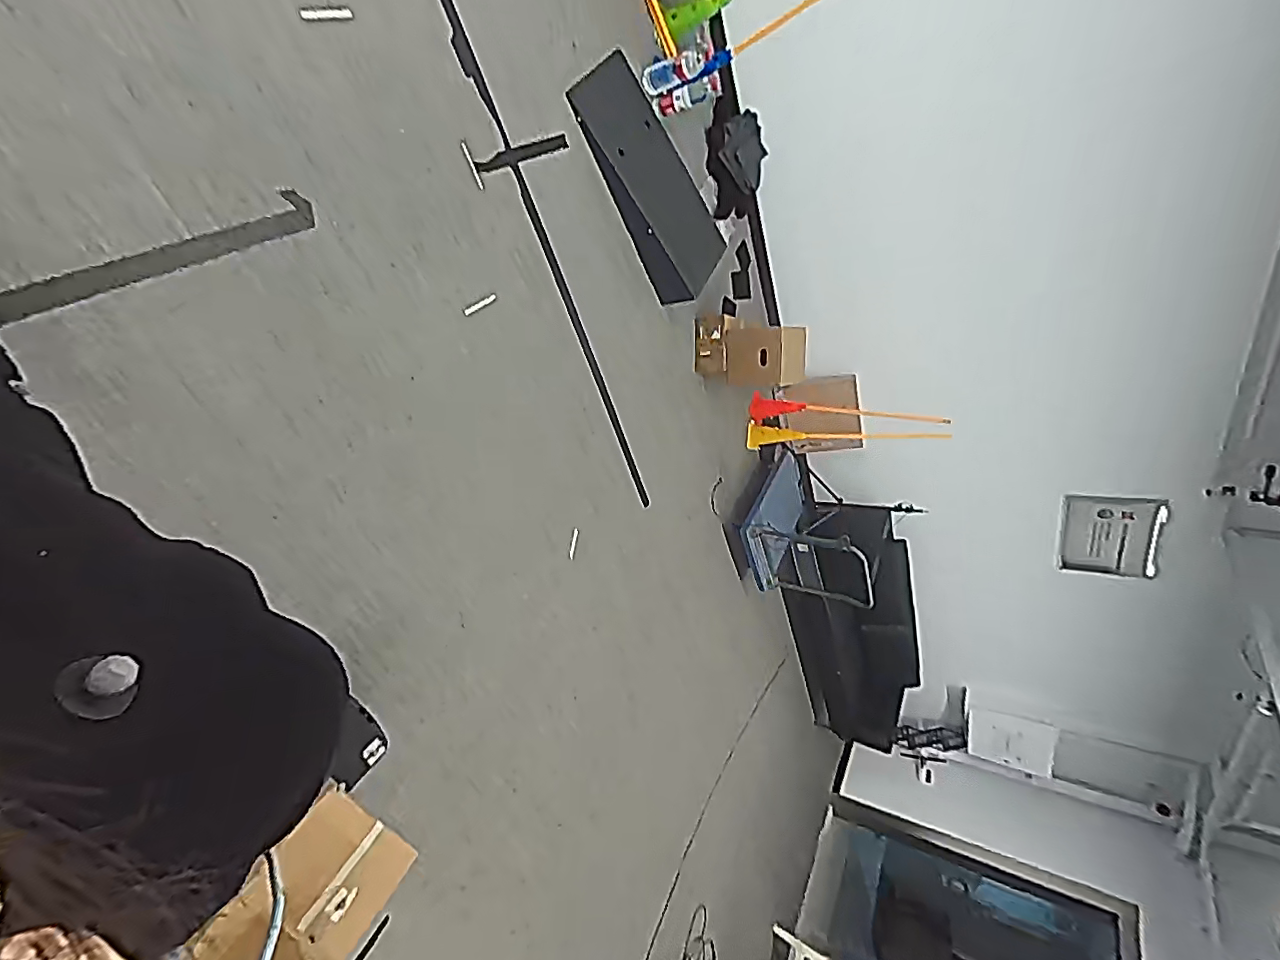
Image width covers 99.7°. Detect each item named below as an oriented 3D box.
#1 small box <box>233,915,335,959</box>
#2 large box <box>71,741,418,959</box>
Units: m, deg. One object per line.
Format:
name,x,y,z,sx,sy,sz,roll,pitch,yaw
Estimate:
small box,-0.594,0.870,0.878,0.179,0.176,0.168,-50,130,-41
large box,-0.753,0.823,1.075,0.408,0.320,0.320,-53,133,-40
